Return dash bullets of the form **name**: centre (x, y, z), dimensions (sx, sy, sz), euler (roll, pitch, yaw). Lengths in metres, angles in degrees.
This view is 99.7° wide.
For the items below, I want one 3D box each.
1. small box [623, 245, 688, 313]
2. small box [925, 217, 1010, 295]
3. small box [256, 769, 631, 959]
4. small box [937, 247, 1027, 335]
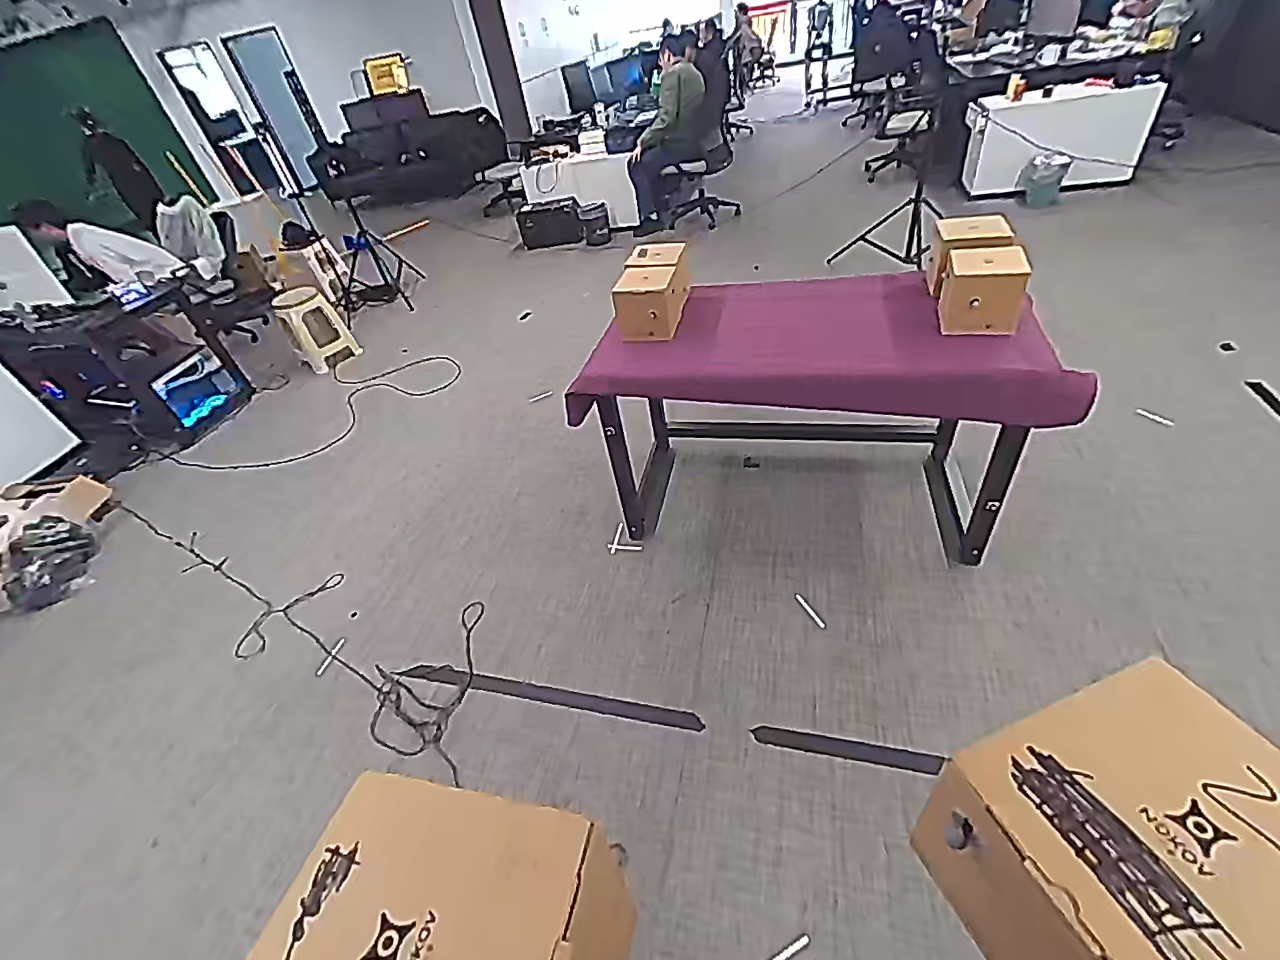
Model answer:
- **small box**: centre (0.058, -0.677, 1.827), dimensions (0.179, 0.176, 0.168), euler (5, 45, 17)
- **small box**: centre (0.947, -0.652, 1.585), dimensions (0.179, 0.176, 0.168), euler (4, 44, 16)
- **small box**: centre (-0.113, 0.317, 0.340), dimensions (0.179, 0.176, 0.168), euler (3, 38, 16)
- **small box**: centre (0.896, -0.497, 1.432), dimensions (0.168, 0.176, 0.179), euler (5, 43, 20)
